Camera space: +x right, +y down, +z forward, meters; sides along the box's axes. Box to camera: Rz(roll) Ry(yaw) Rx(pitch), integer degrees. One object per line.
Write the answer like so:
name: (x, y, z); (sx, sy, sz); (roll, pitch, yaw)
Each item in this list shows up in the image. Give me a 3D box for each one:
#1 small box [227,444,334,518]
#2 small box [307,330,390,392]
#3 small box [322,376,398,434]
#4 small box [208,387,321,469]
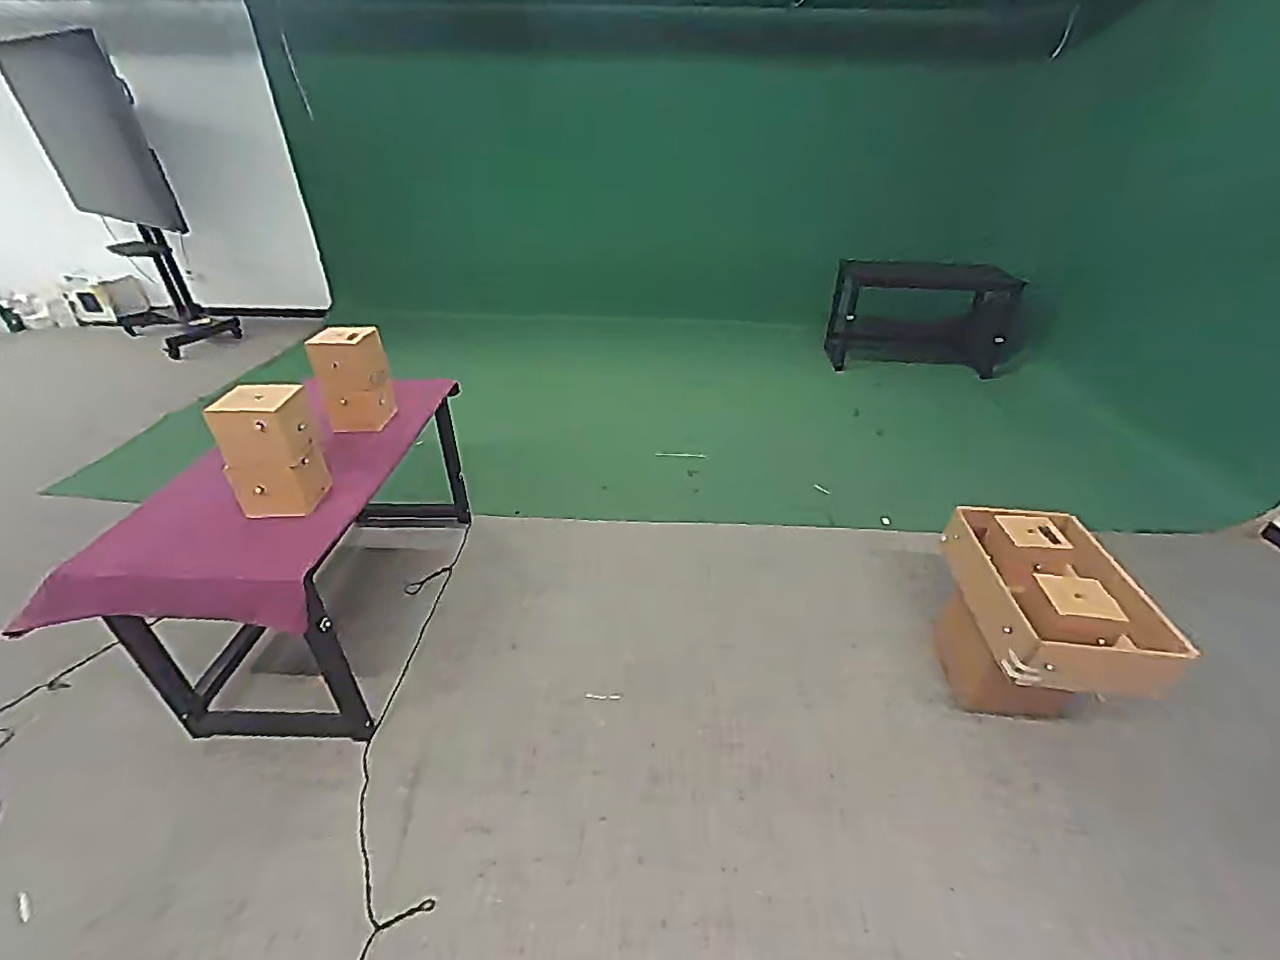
small box: (-1.024, -0.002, 1.558); (0.179, 0.176, 0.168); (-2, 34, -3)
small box: (-1.002, -0.413, 1.880); (0.179, 0.176, 0.168); (0, 34, 3)
small box: (-1.010, -0.277, 1.973); (0.179, 0.176, 0.168); (-1, 34, 0)
small box: (-1.004, -0.140, 1.468); (0.179, 0.176, 0.168); (-1, 33, -3)
